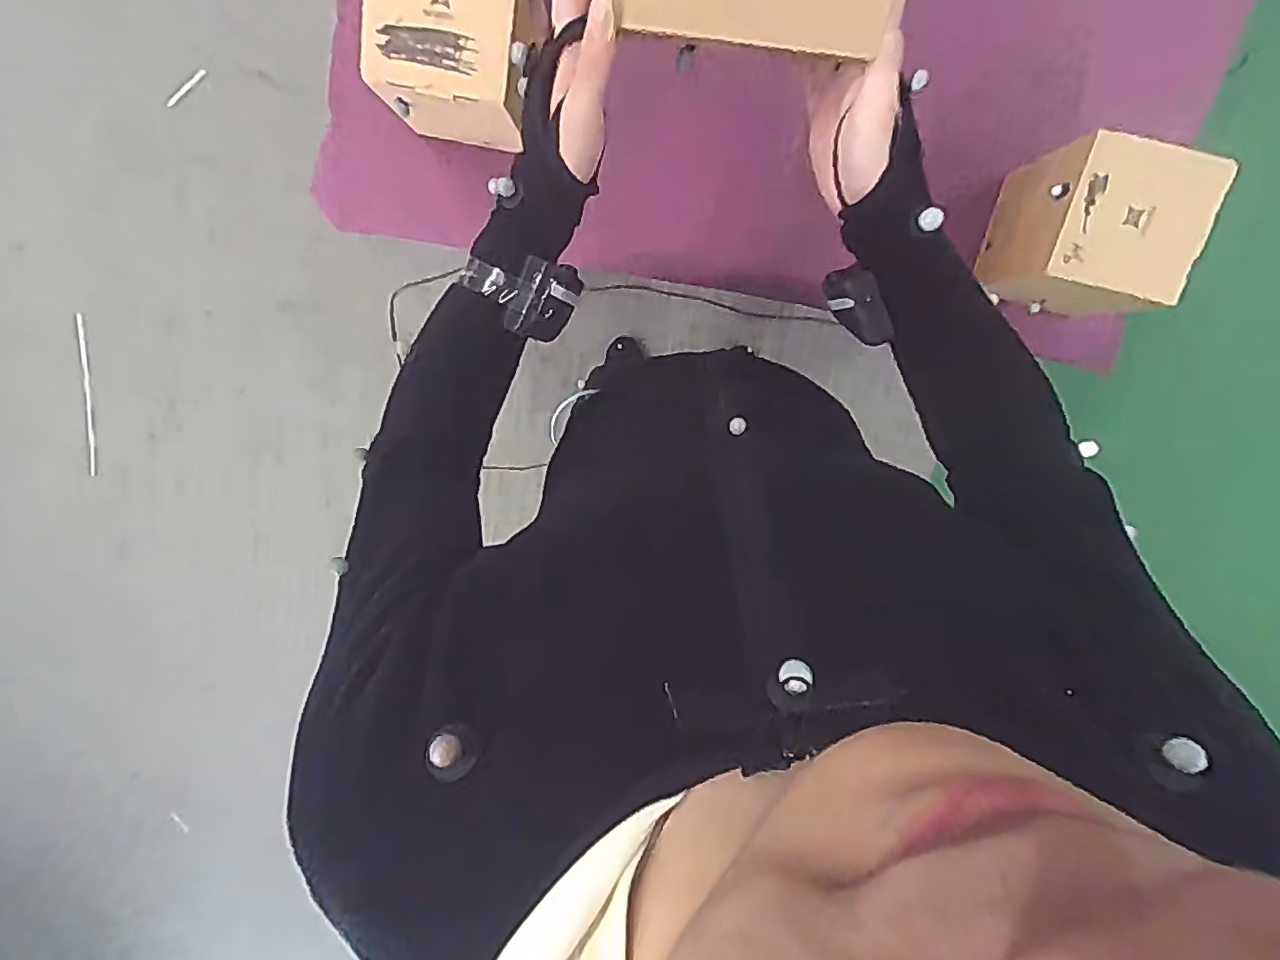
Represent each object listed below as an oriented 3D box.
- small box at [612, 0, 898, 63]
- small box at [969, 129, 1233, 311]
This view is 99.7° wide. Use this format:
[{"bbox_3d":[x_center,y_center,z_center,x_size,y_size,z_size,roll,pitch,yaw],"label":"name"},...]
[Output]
[{"bbox_3d":[0.070,-0.376,0.332,0.168,0.176,0.179,3,128,-6],"label":"small box"},{"bbox_3d":[0.593,-0.329,0.724,0.179,0.176,0.168,13,103,-3],"label":"small box"}]
